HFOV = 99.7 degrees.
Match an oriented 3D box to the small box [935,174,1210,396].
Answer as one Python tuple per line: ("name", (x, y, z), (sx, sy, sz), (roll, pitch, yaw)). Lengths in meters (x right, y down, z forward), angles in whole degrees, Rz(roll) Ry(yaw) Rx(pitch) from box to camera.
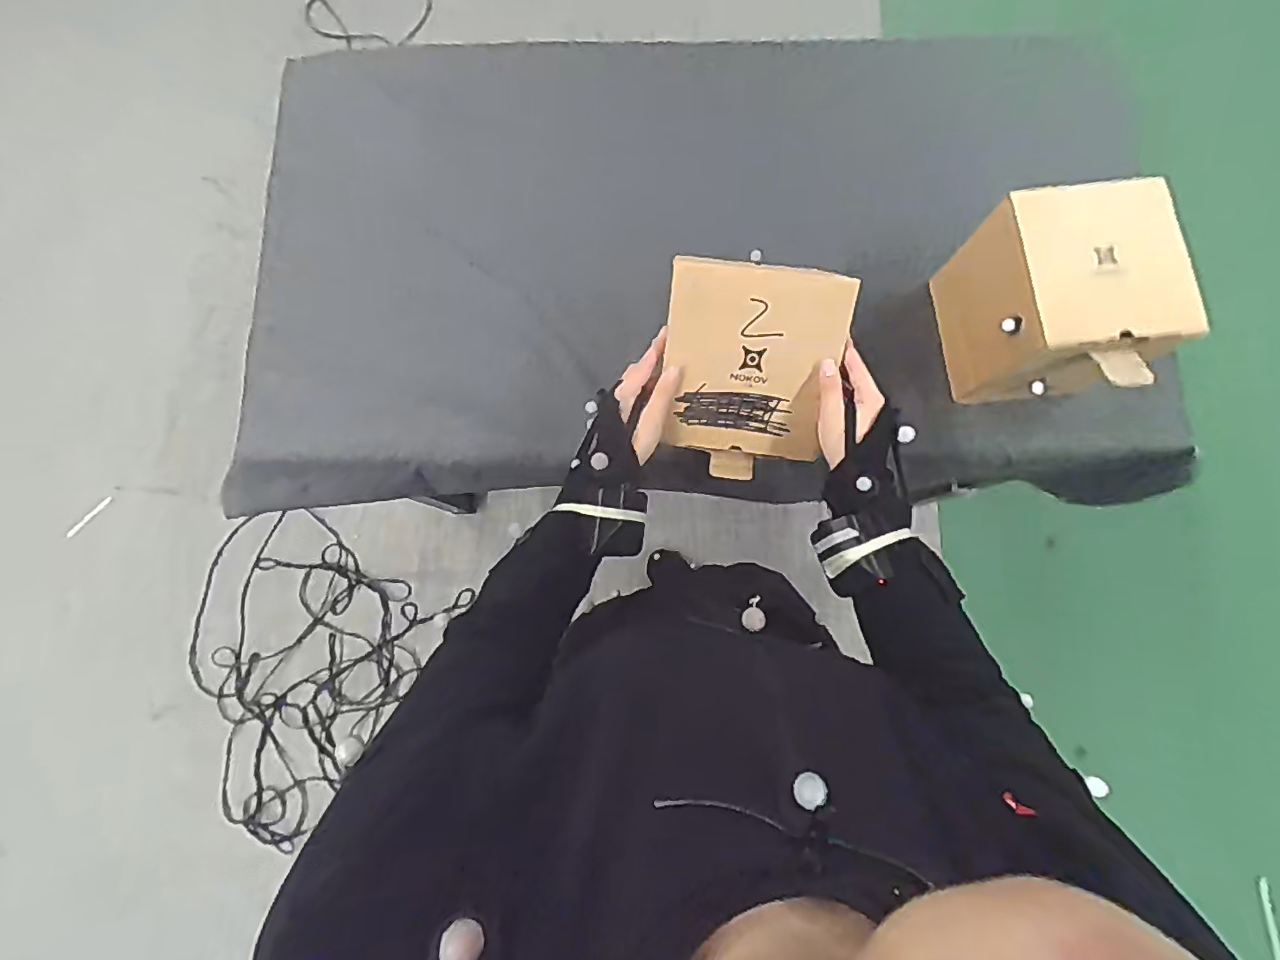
("small box", (0.472, -0.212, 0.624), (0.168, 0.176, 0.179), (-6, 80, 0))
